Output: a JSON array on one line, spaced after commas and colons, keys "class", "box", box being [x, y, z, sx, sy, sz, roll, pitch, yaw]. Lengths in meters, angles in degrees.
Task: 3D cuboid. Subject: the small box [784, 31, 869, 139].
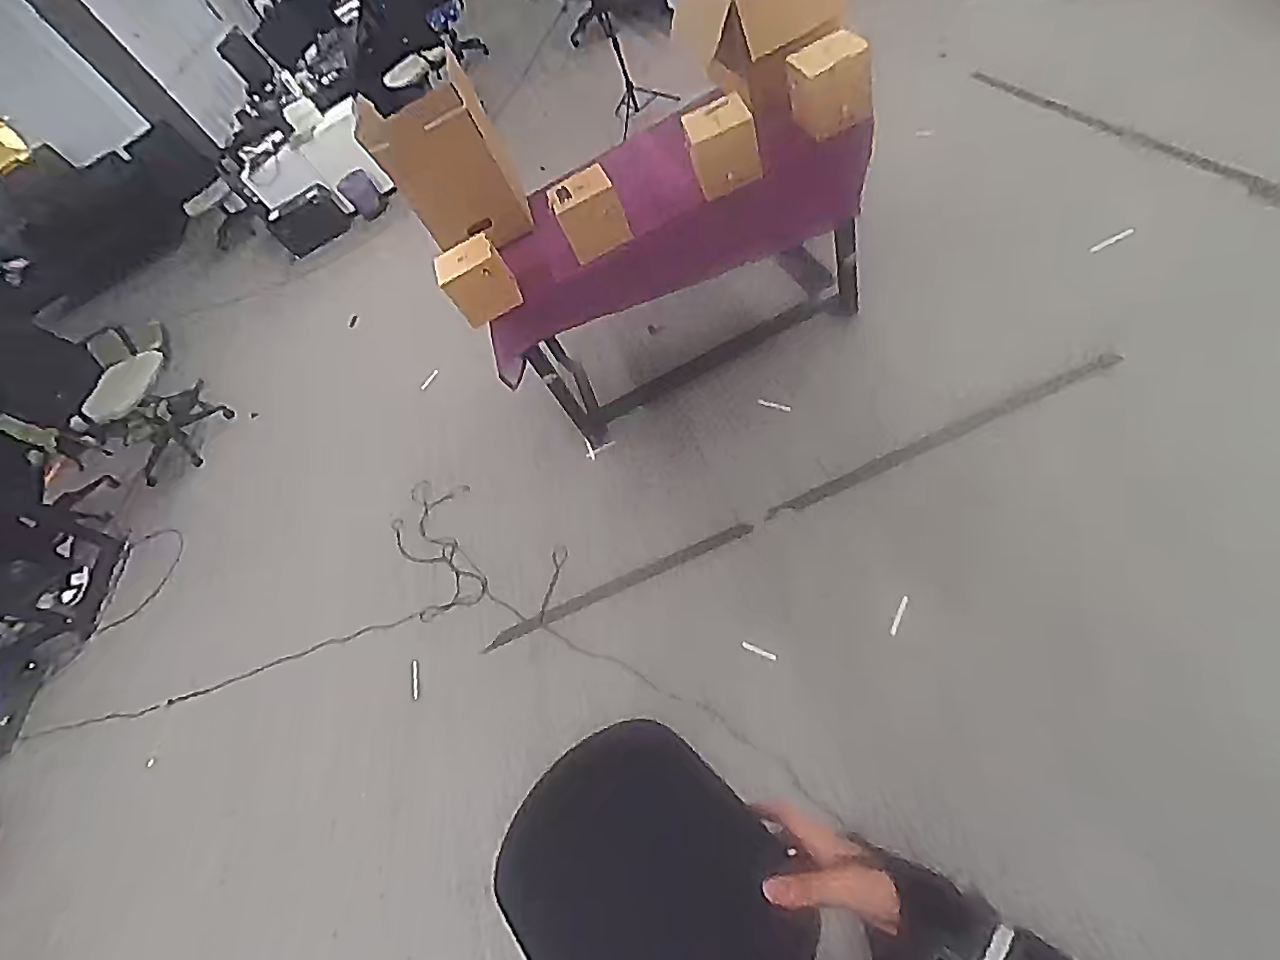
[{"class": "small box", "box": [0.514, -1.081, 1.489, 0.168, 0.176, 0.179, -23, 52, 10]}]

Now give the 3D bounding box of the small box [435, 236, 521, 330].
[{"class": "small box", "box": [-0.480, -0.580, 1.606, 0.179, 0.176, 0.168, -28, 51, 4]}]
